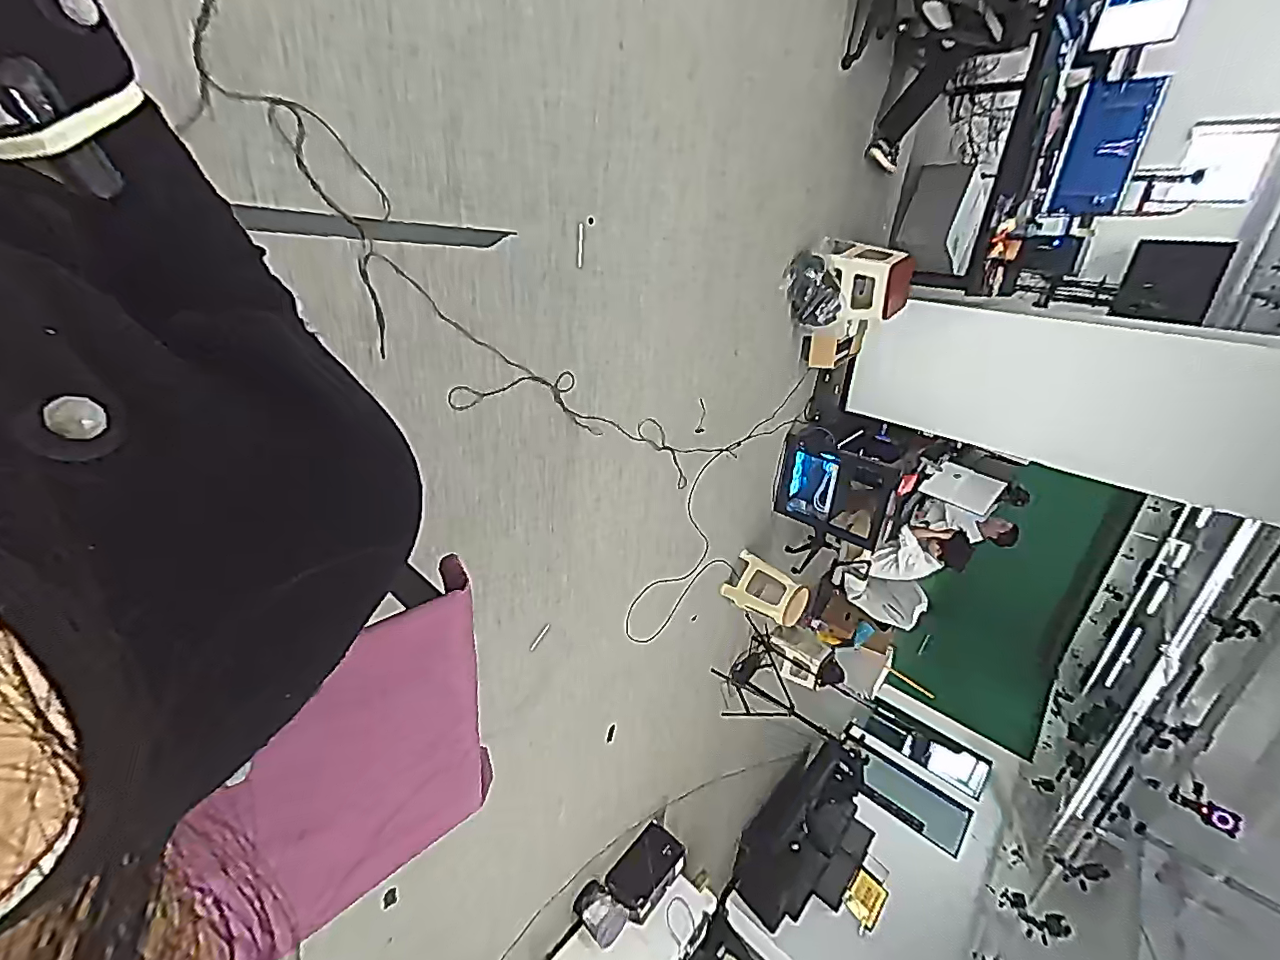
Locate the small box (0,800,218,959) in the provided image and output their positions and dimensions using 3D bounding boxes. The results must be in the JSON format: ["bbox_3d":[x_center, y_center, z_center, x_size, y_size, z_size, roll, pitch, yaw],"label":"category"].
[{"bbox_3d":[-0.659,0.552,0.671,0.168,0.176,0.179,-19,124,-47],"label":"small box"}]
